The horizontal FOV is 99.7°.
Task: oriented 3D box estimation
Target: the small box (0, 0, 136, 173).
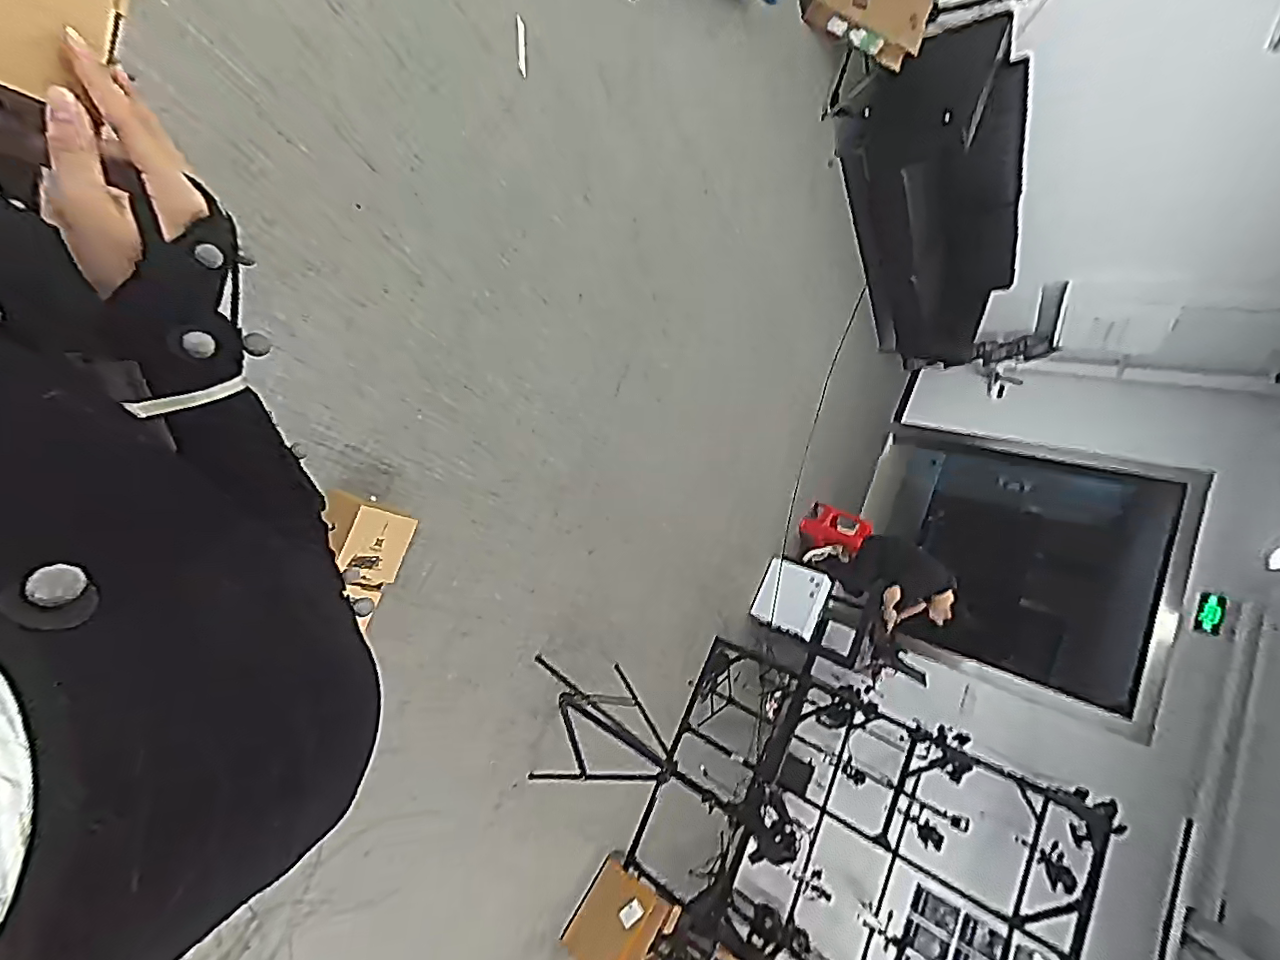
[{"bbox_3d":[-0.384,-0.288,0.278,0.179,0.176,0.168,8,95,-49],"label":"small box"}]
